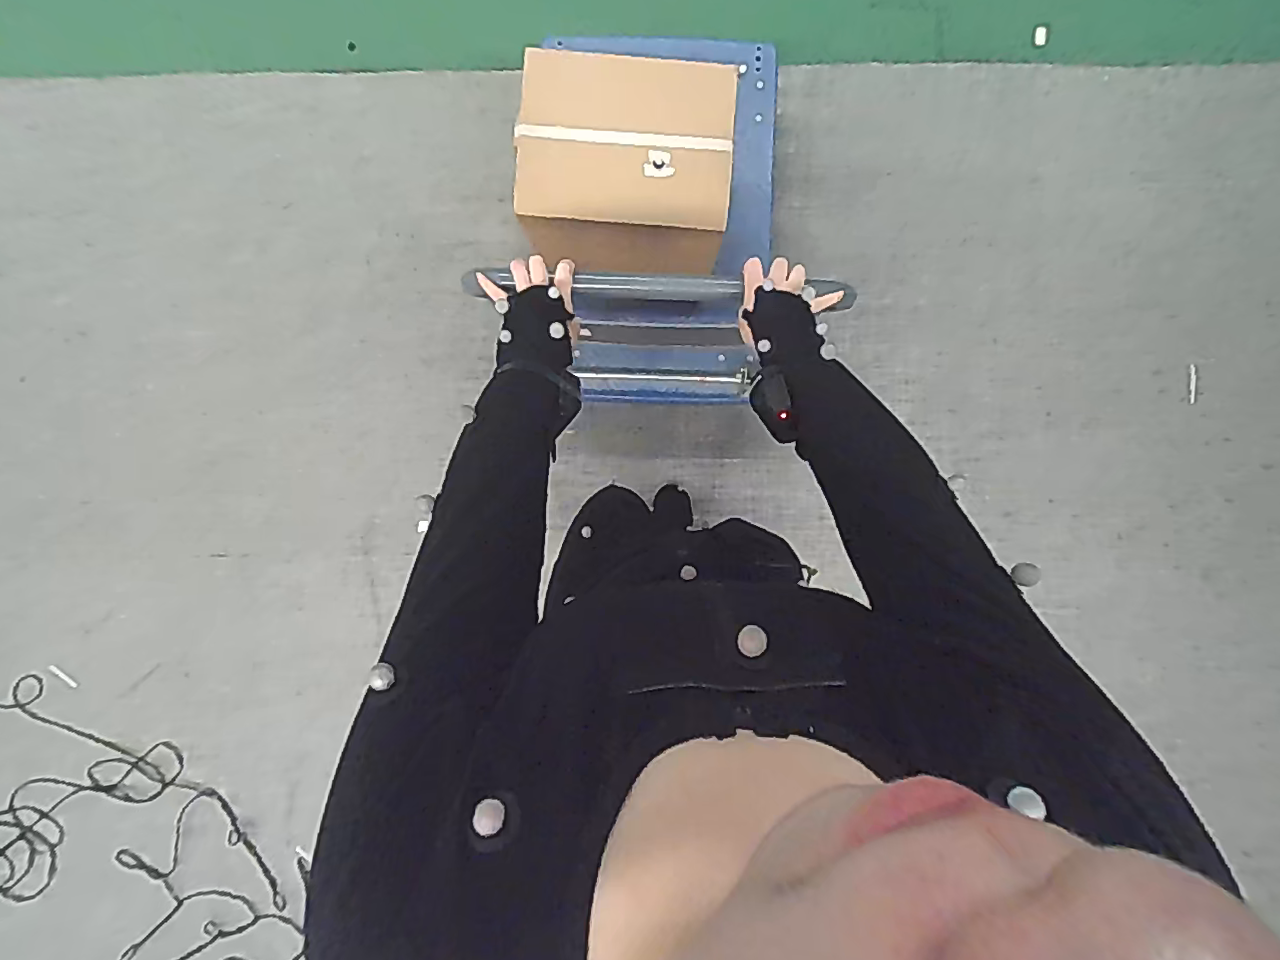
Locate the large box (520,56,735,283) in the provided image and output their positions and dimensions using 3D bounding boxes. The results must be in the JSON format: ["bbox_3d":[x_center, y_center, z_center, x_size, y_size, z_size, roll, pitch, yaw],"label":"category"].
[{"bbox_3d":[-0.027,-0.646,1.181,0.408,0.320,0.320,4,90,-1],"label":"large box"}]
